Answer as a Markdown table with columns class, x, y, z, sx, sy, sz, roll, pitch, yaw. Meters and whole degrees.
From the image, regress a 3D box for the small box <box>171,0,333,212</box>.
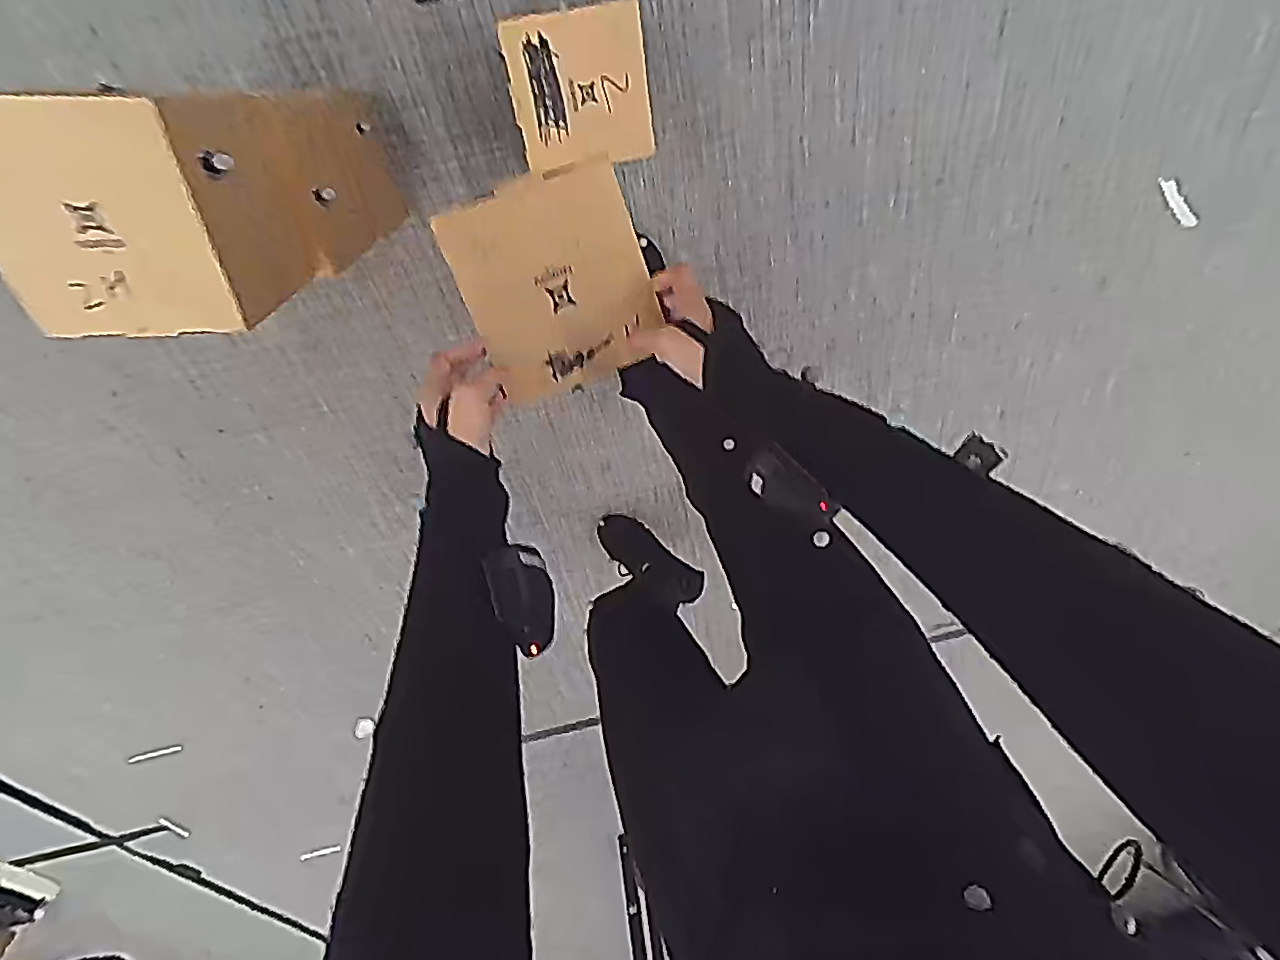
| class | x | y | z | sx | sy | sz | roll | pitch | yaw |
| --- | --- | --- | --- | --- | --- | --- | --- | --- | --- |
| small box | -0.463 | -0.391 | 0.574 | 0.168 | 0.176 | 0.179 | -8 | 128 | -4 |

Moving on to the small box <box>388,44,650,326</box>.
| class | x | y | z | sx | sy | sz | roll | pitch | yaw |
| --- | --- | --- | --- | --- | --- | --- | --- | --- | --- |
| small box | -0.107 | -0.257 | 0.518 | 0.168 | 0.176 | 0.179 | -22 | 108 | -4 |

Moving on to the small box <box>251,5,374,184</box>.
| class | x | y | z | sx | sy | sz | roll | pitch | yaw |
| --- | --- | --- | --- | --- | --- | --- | --- | --- | --- |
| small box | -0.477 | -0.486 | 0.705 | 0.168 | 0.176 | 0.179 | -11 | 127 | -2 |
